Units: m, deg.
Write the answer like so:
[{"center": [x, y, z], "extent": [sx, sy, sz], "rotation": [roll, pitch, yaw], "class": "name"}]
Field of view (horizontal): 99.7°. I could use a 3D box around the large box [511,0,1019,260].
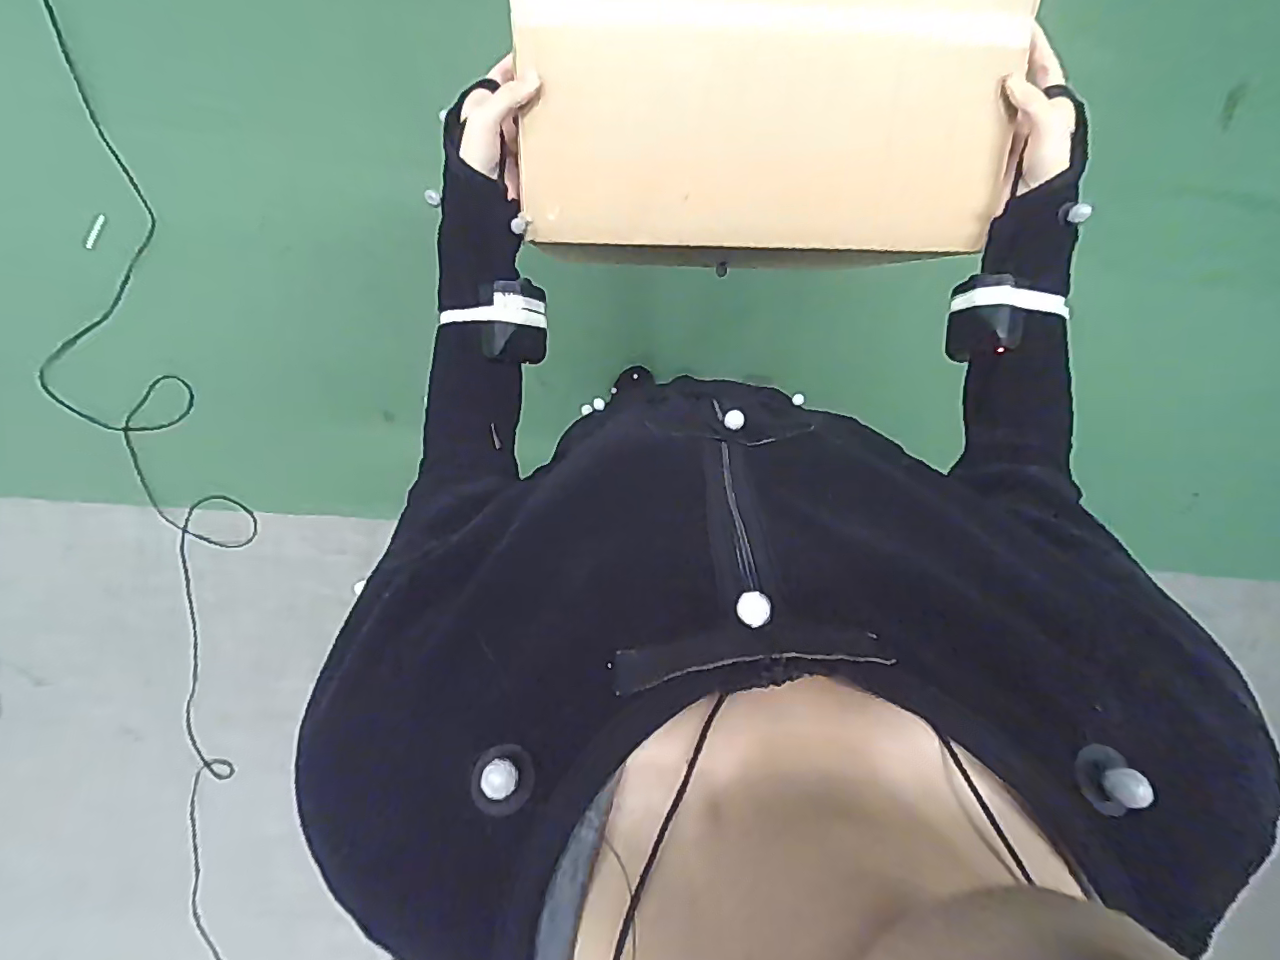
[{"center": [0.095, -0.402, 0.567], "extent": [0.408, 0.320, 0.320], "rotation": [0, 108, -2], "class": "large box"}]
